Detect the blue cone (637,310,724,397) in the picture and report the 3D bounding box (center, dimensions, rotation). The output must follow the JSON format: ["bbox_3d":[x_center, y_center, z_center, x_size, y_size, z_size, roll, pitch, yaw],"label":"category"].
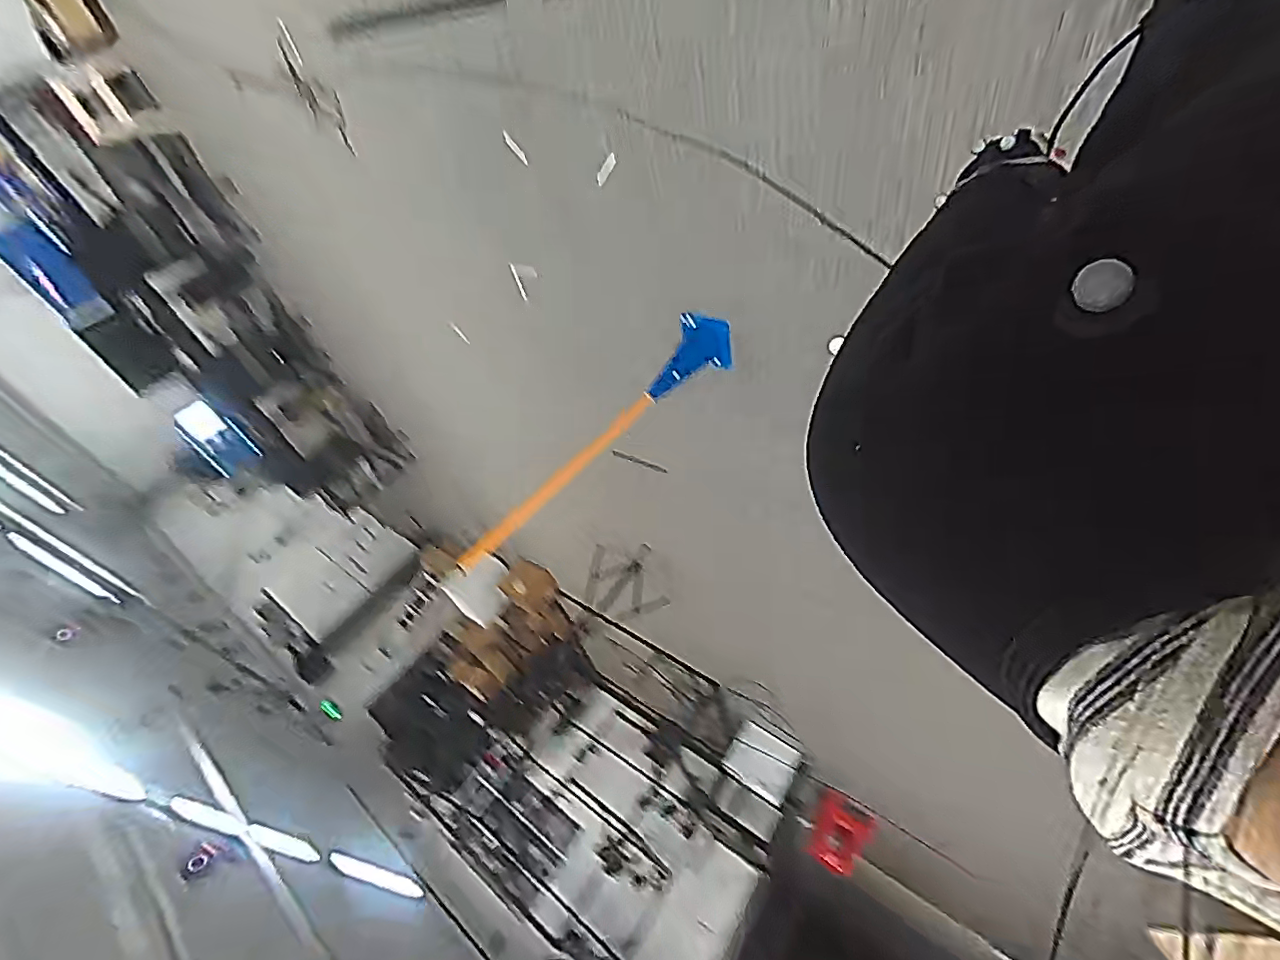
[{"bbox_3d":[0.120,-0.403,1.856,0.192,0.380,0.193,25,147,29],"label":"blue cone"}]
